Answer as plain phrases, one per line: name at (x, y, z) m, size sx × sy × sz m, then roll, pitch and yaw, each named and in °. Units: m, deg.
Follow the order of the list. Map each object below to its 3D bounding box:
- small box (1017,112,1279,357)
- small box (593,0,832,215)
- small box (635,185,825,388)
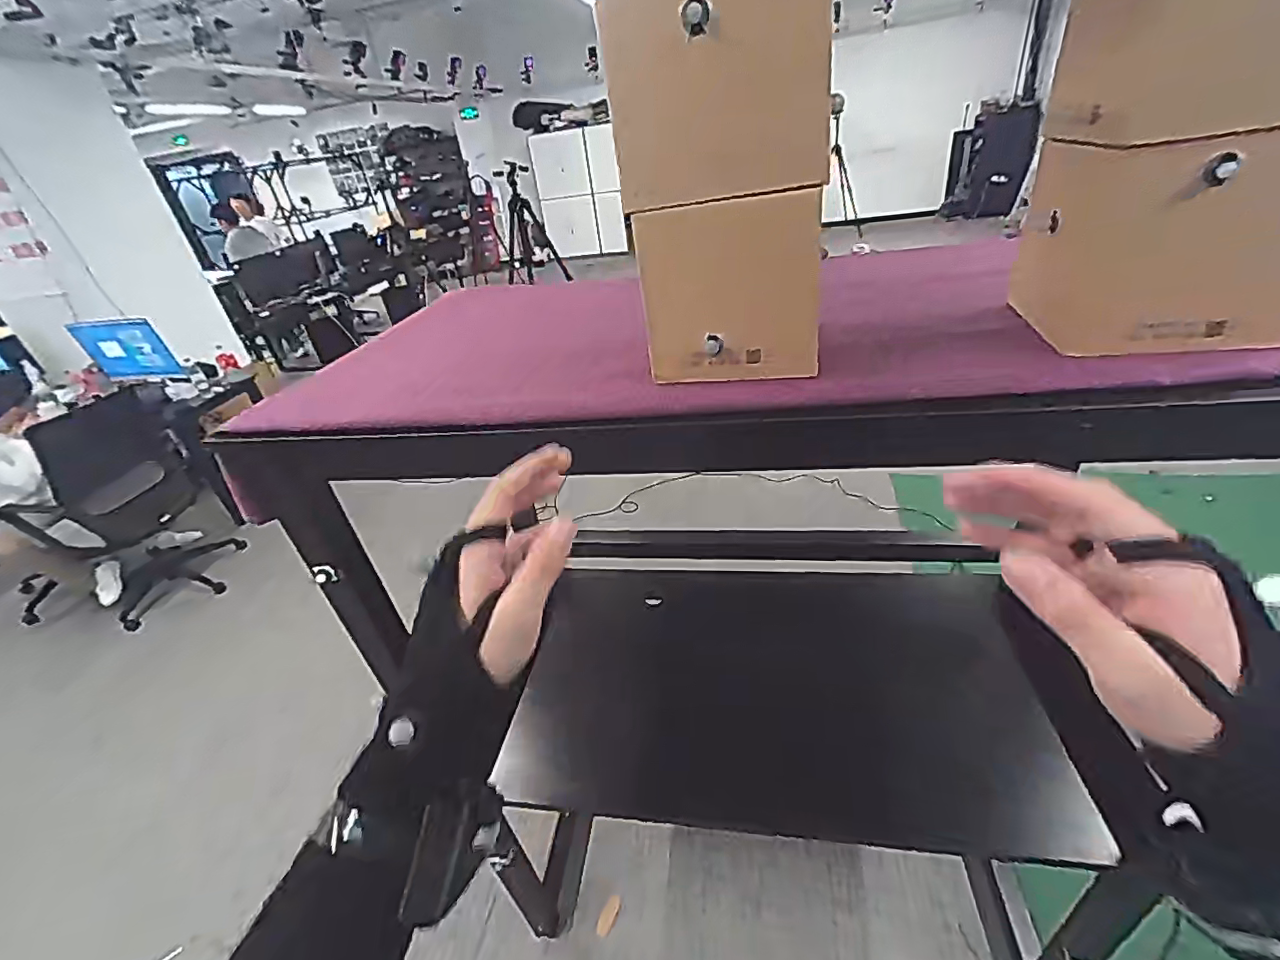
small box at (0.474, -0.221, 0.491) m, size 0.168 × 0.176 × 0.179 m, roll 0°, pitch 33°, yaw 16°
small box at (0.075, -0.344, 0.483) m, size 0.179 × 0.176 × 0.168 m, roll -1°, pitch 32°, yaw 15°
small box at (0.102, -0.207, 0.570) m, size 0.168 × 0.176 × 0.179 m, roll -1°, pitch 32°, yaw 16°
